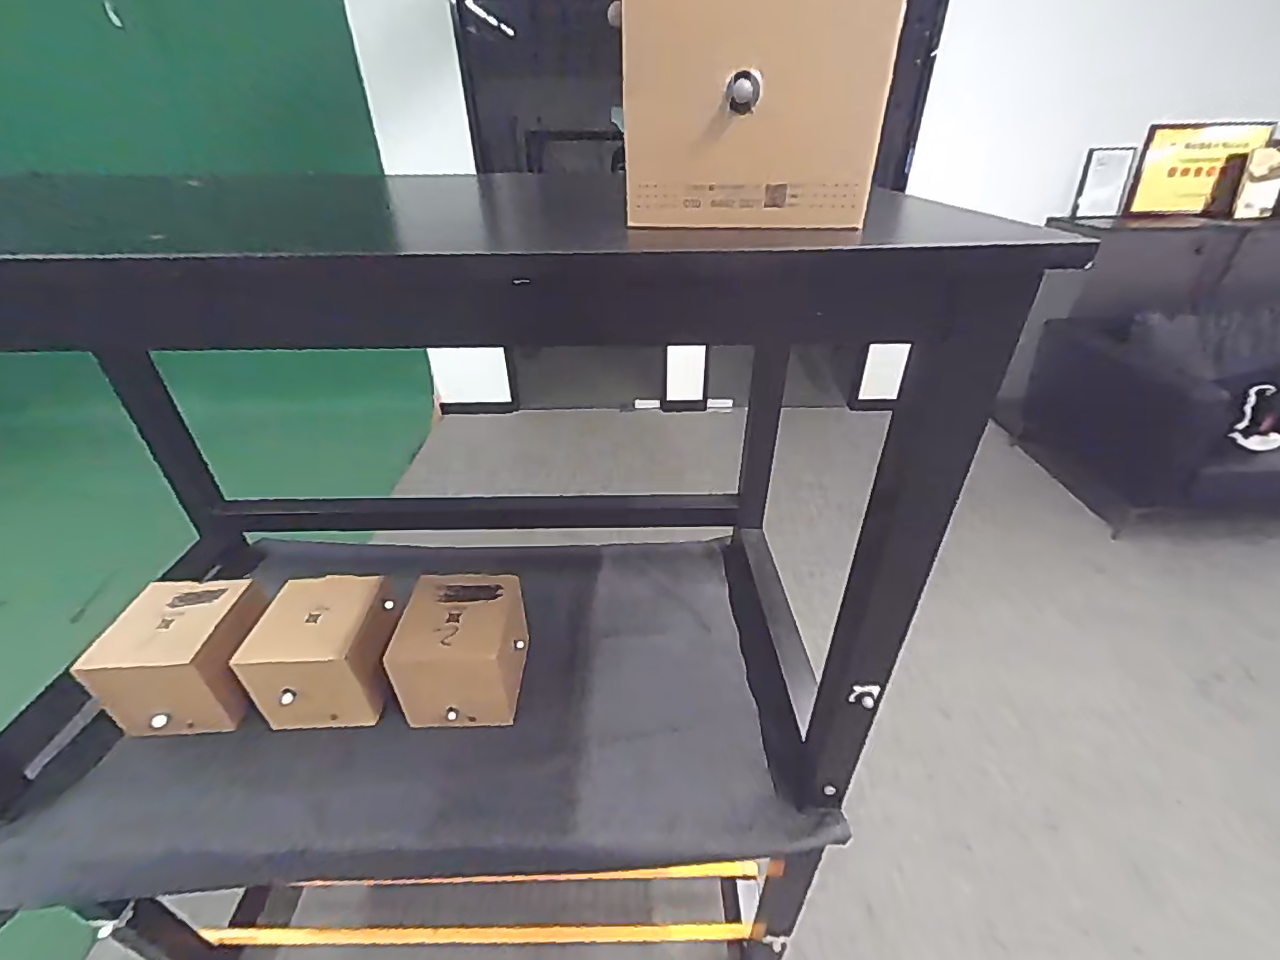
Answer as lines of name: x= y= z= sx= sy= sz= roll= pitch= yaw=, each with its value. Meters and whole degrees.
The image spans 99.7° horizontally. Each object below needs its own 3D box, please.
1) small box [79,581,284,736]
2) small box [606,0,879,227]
small box: x=-0.720 y=0.288 z=0.881 sx=0.168 sy=0.176 sz=0.179 roll=-2 pitch=33 yaw=-2
small box: x=0.075 y=-0.293 z=0.409 sx=0.168 sy=0.176 sz=0.179 roll=5 pitch=33 yaw=9
